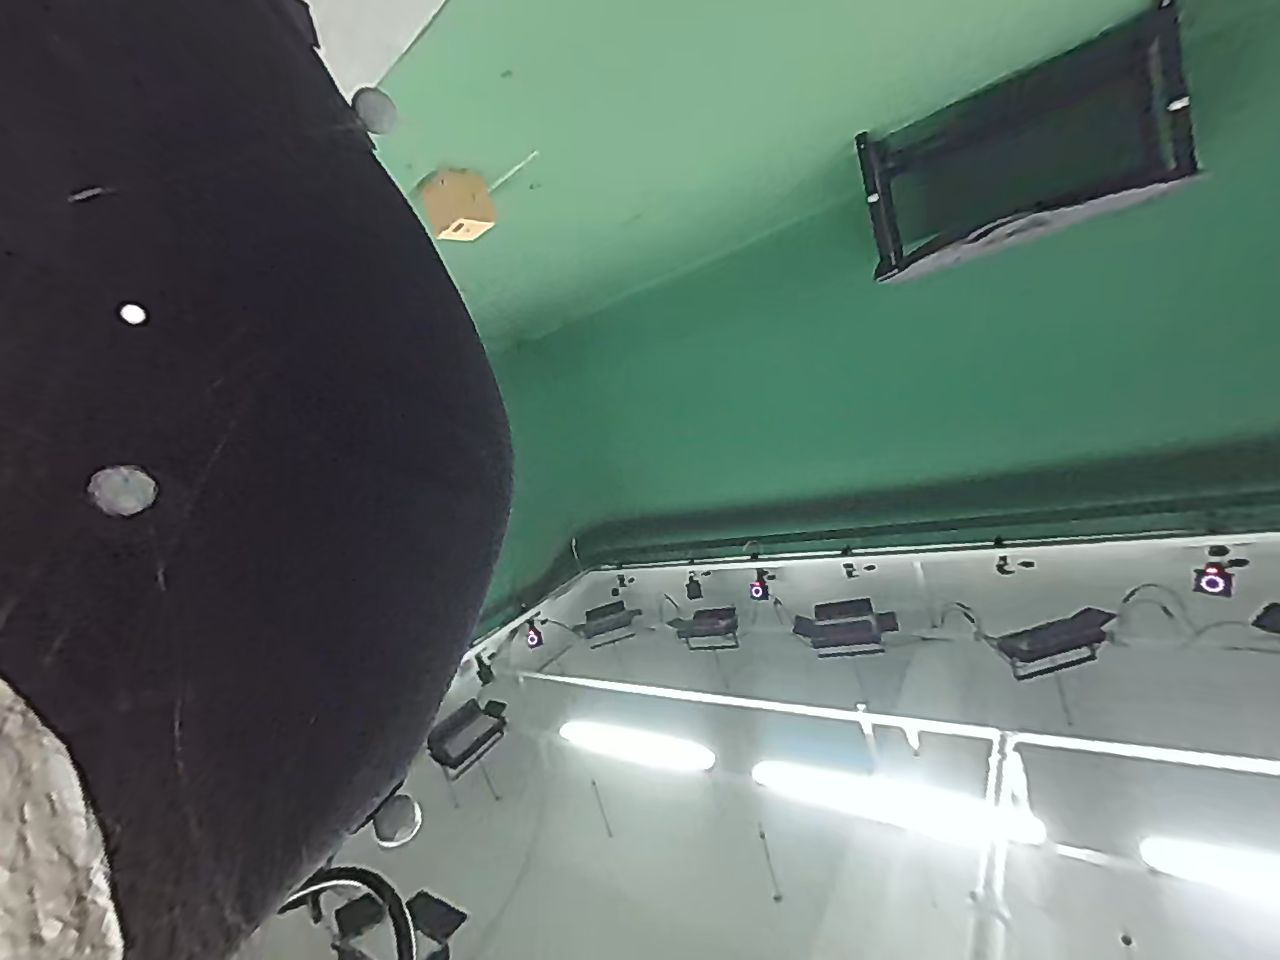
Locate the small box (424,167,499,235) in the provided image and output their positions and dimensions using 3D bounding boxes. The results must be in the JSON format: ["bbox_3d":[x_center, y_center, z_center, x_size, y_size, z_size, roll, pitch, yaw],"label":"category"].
[{"bbox_3d":[-0.657,-1.023,1.986,0.168,0.176,0.179,-11,-168,37],"label":"small box"}]
